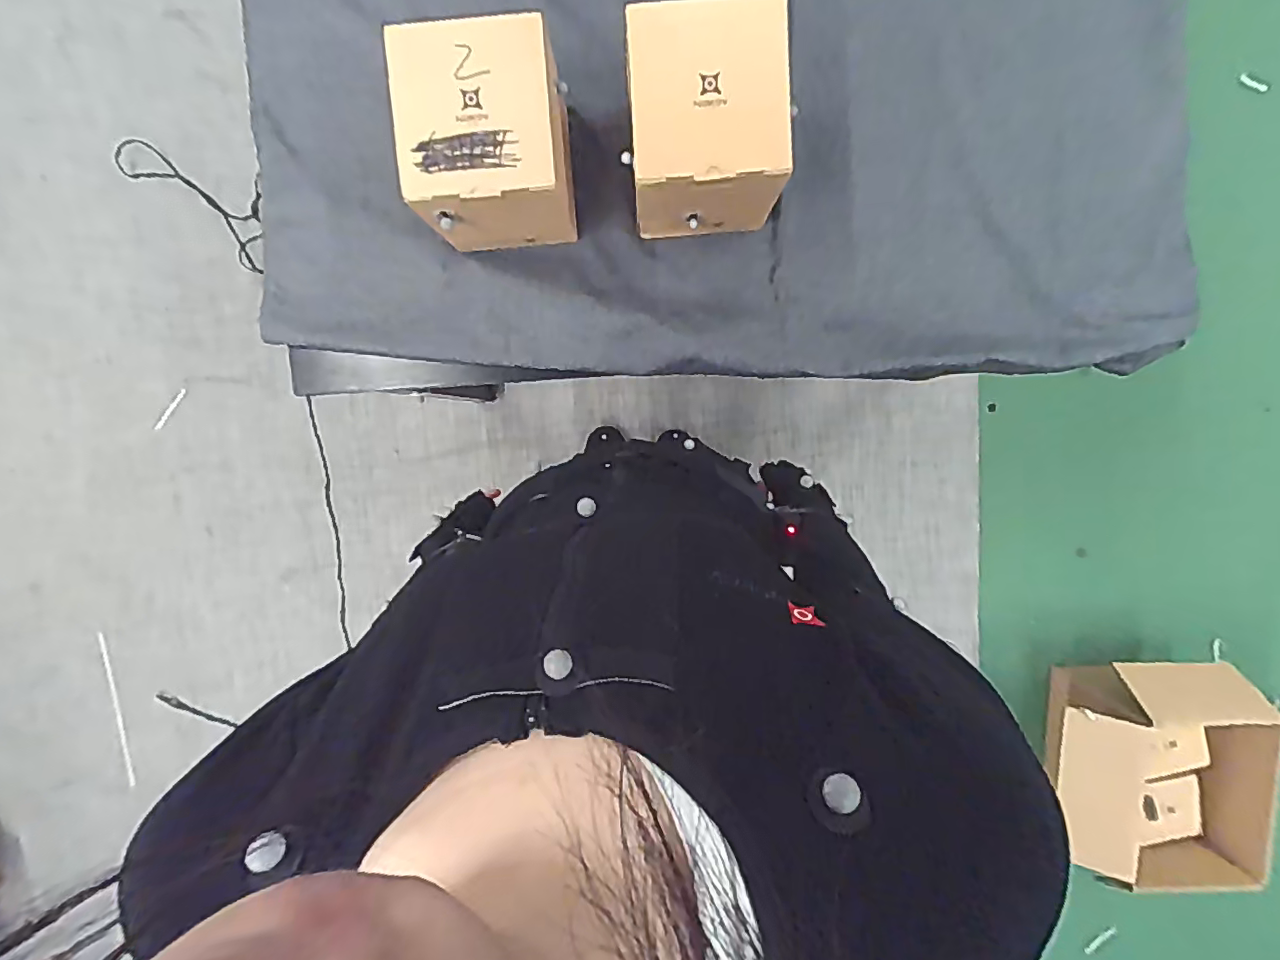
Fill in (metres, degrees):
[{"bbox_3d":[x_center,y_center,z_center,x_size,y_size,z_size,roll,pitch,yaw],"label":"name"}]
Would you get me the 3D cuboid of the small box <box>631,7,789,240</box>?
[{"bbox_3d":[0.075,-0.412,0.653,0.168,0.176,0.179,-4,96,1],"label":"small box"}]
